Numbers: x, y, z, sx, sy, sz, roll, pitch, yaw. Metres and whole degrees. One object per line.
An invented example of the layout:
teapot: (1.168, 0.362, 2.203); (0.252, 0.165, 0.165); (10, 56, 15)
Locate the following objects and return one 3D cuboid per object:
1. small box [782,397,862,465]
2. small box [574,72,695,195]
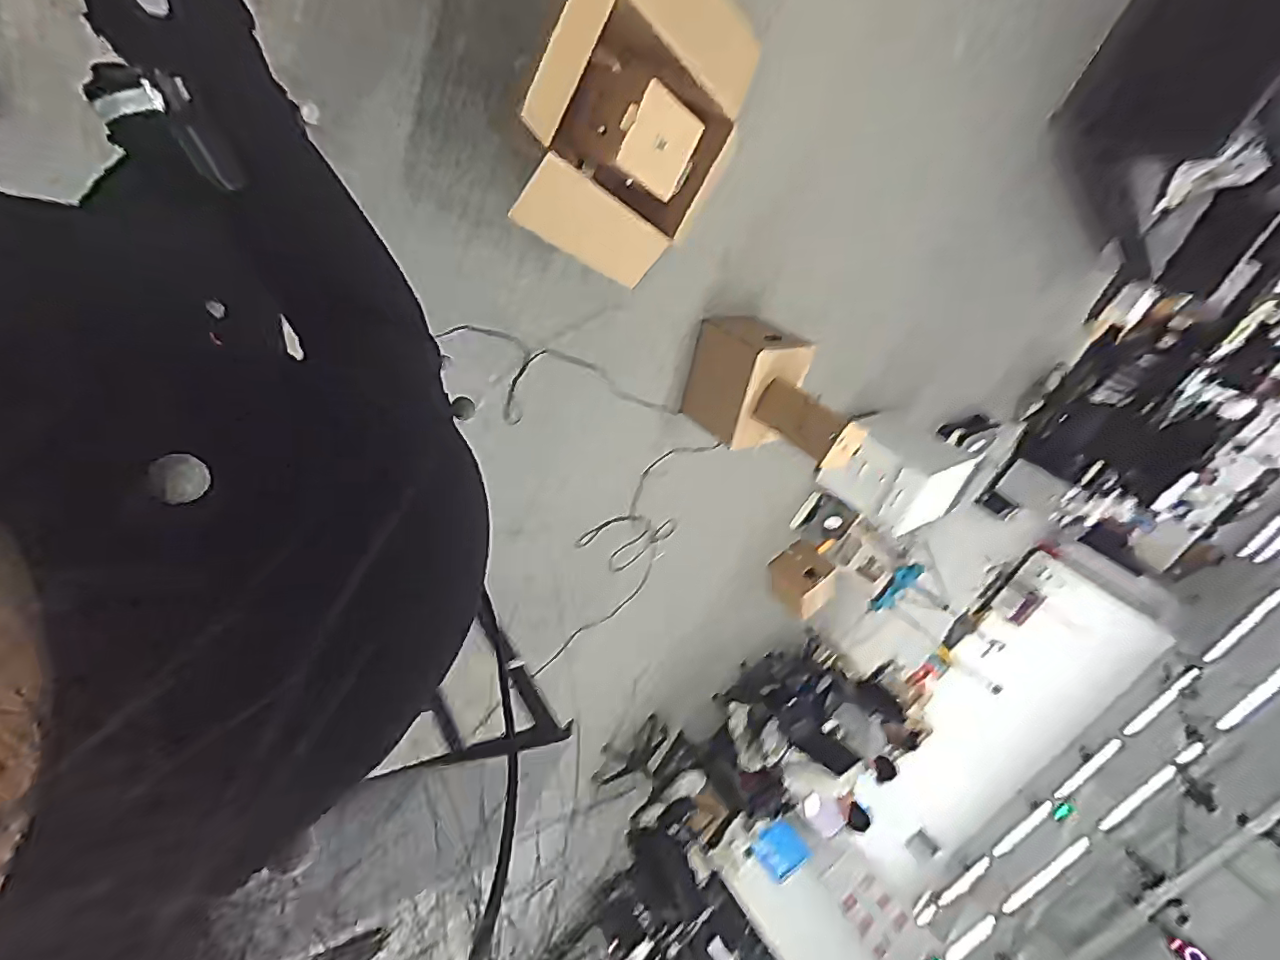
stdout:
small box: (0.630, -0.172, 1.881); (0.179, 0.176, 0.168); (7, 117, -48)
small box: (-0.019, -0.774, 1.207); (0.179, 0.176, 0.168); (8, 119, -47)
